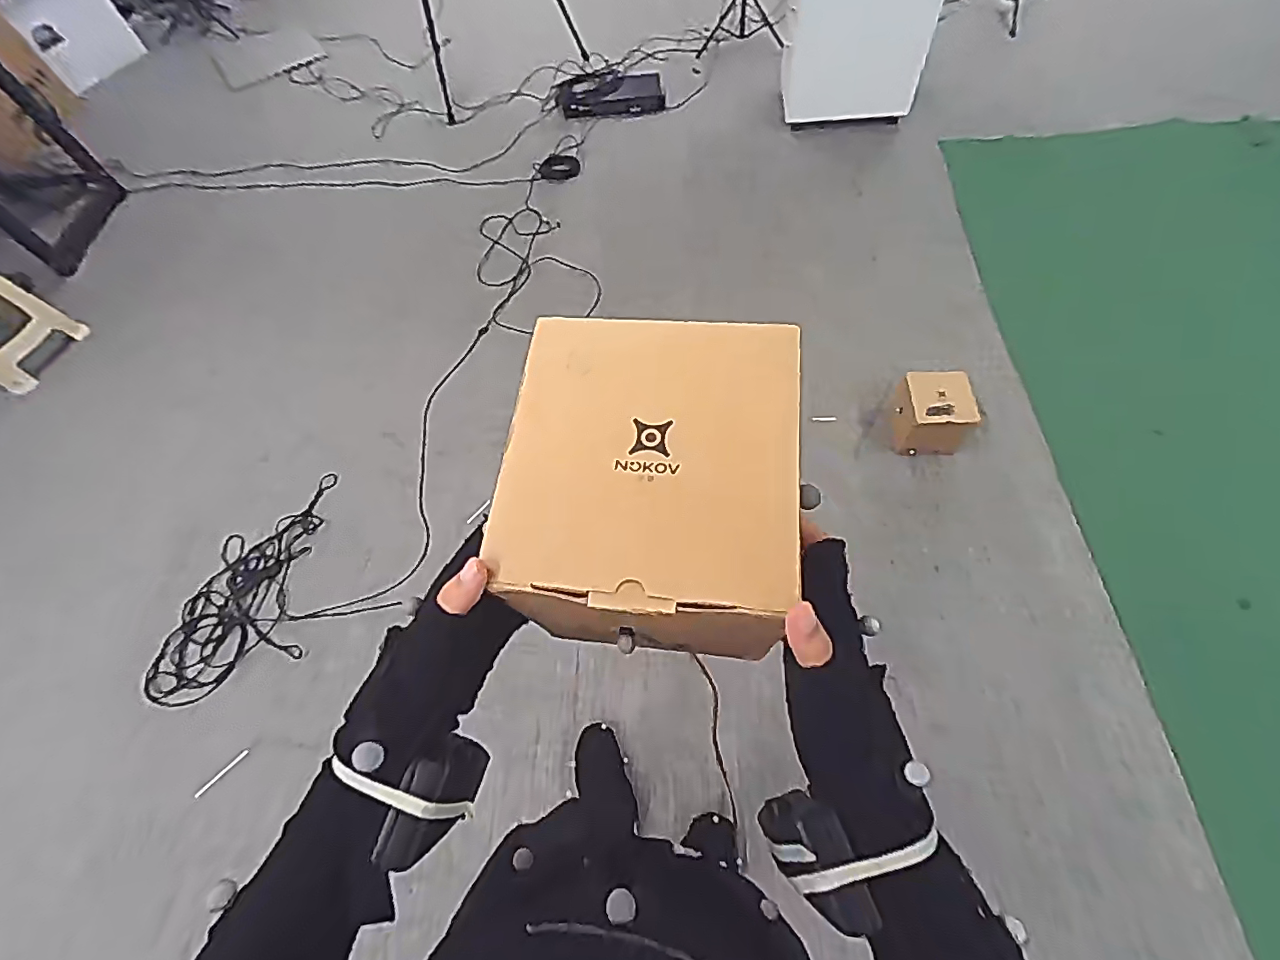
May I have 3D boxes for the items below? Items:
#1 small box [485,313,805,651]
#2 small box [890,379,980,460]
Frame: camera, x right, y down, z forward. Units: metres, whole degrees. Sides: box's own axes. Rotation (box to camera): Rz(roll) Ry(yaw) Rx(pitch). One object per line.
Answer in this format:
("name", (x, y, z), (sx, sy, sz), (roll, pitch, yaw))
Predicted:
("small box", (0.015, 0.011, 0.376), (0.168, 0.176, 0.179), (4, 66, 7))
("small box", (0.836, -0.169, 1.551), (0.168, 0.176, 0.179), (1, 61, 6))
